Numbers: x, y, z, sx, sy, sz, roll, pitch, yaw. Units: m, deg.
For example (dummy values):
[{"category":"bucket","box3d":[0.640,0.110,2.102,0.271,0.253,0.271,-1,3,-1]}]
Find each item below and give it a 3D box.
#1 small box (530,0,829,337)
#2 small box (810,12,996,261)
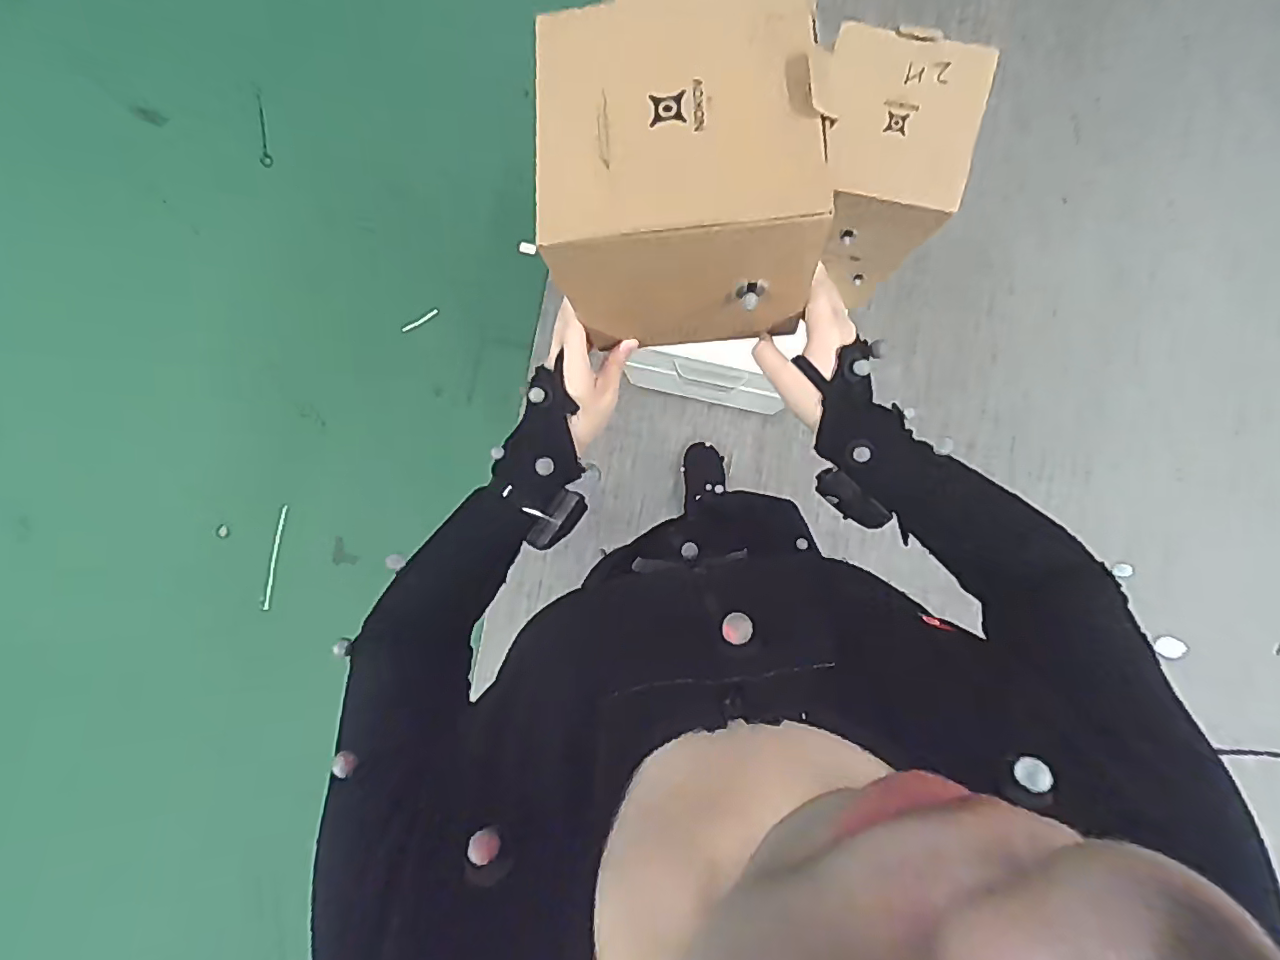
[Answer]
[{"category":"small box","box3d":[0.029,-0.220,0.401,0.179,0.176,0.168,-3,81,9]},{"category":"small box","box3d":[0.269,-0.383,0.636,0.168,0.176,0.179,14,92,4]}]
